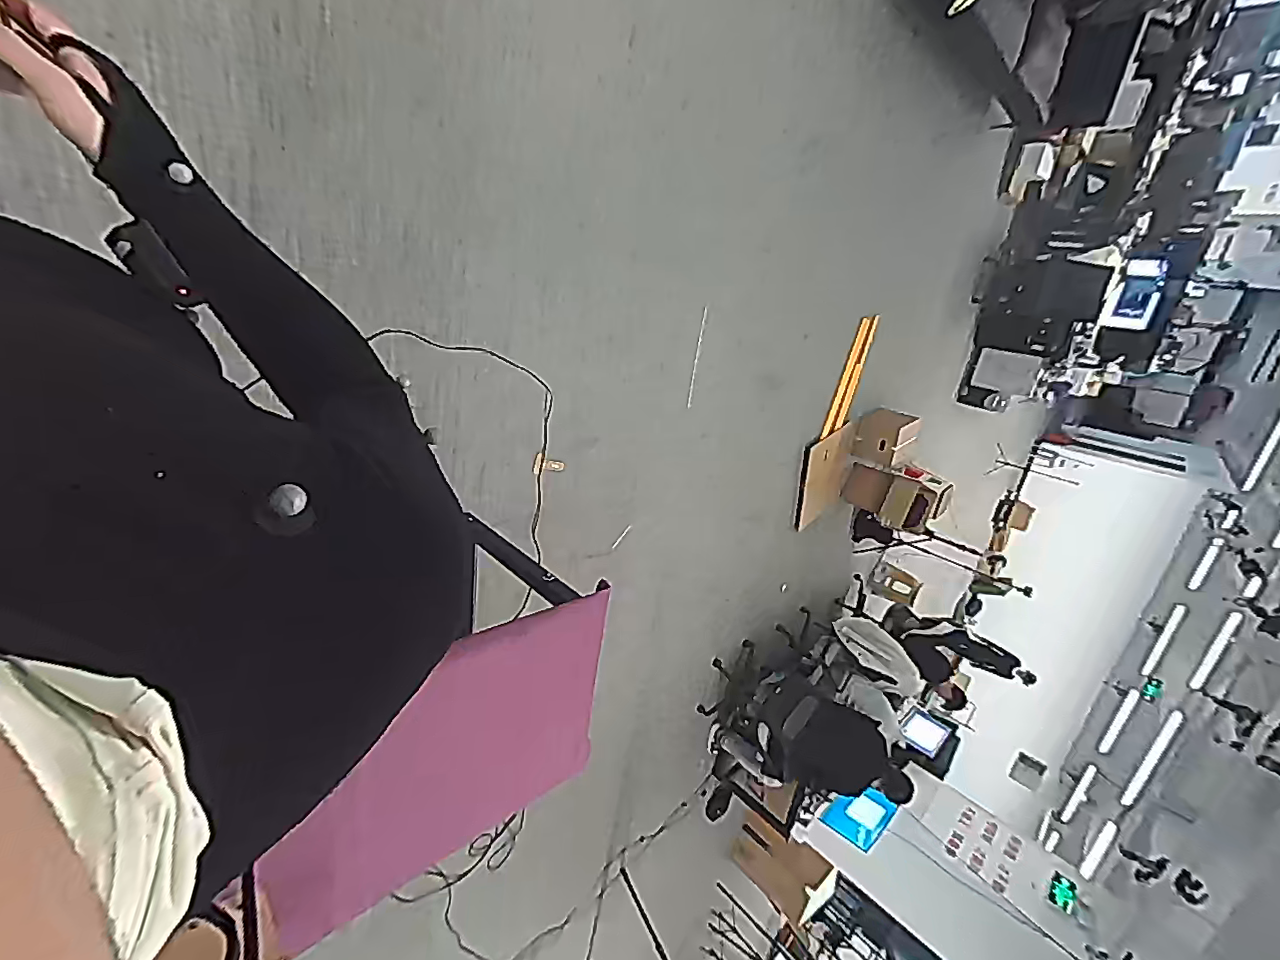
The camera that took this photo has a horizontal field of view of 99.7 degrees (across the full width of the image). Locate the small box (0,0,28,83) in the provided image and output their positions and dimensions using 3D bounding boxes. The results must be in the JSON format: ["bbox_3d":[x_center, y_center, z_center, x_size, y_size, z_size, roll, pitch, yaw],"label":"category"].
[{"bbox_3d":[-0.572,-0.399,0.361,0.179,0.176,0.168,-12,114,-38],"label":"small box"}]

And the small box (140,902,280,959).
[{"bbox_3d":[-0.735,0.874,0.921,0.168,0.176,0.179,-2,111,-48],"label":"small box"}]
